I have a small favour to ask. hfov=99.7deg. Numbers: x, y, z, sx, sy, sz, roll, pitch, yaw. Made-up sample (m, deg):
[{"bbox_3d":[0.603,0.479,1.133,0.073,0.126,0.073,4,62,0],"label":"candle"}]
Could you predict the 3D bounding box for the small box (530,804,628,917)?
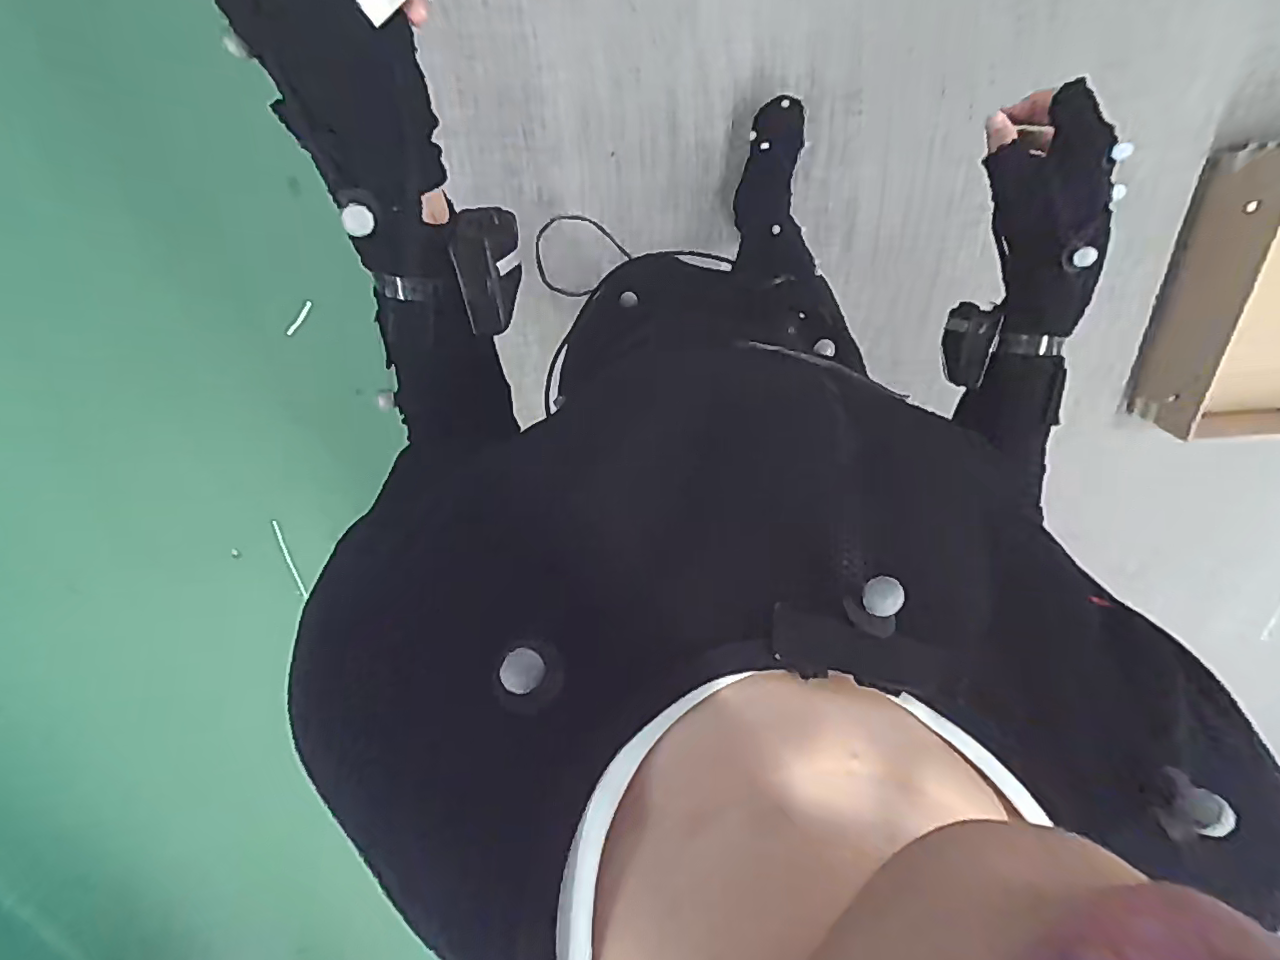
[{"bbox_3d":[-0.113,0.700,1.043,0.168,0.176,0.179,4,120,-1],"label":"small box"}]
